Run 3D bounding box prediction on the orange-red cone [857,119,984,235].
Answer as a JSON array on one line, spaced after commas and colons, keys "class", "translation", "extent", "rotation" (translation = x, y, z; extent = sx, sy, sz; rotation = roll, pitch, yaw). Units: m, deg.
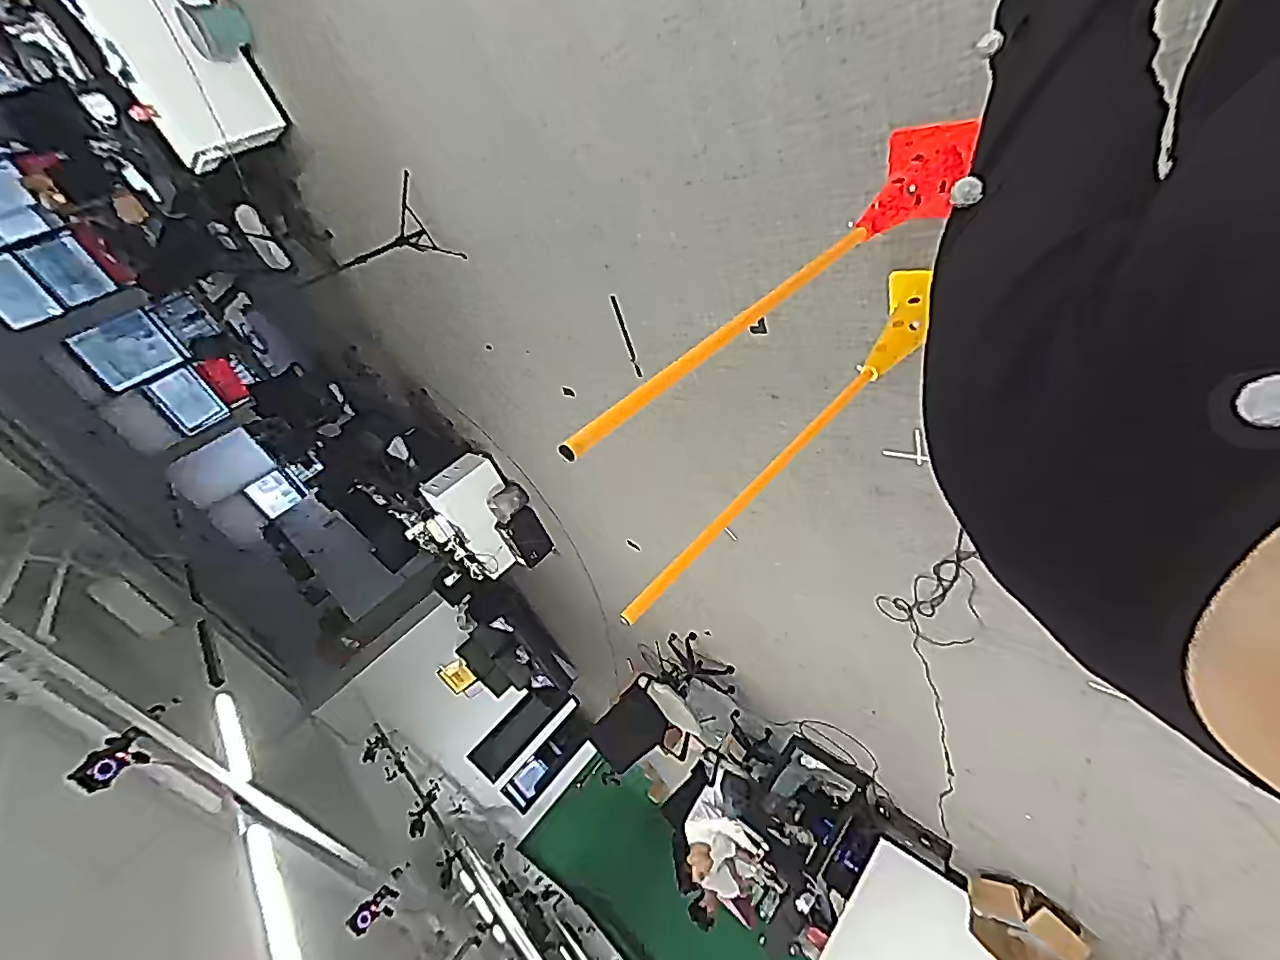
[{"class": "orange-red cone", "translation": [0.568, -0.618, 1.176], "extent": [0.198, 0.360, 0.199], "rotation": [22, 142, 39]}]
